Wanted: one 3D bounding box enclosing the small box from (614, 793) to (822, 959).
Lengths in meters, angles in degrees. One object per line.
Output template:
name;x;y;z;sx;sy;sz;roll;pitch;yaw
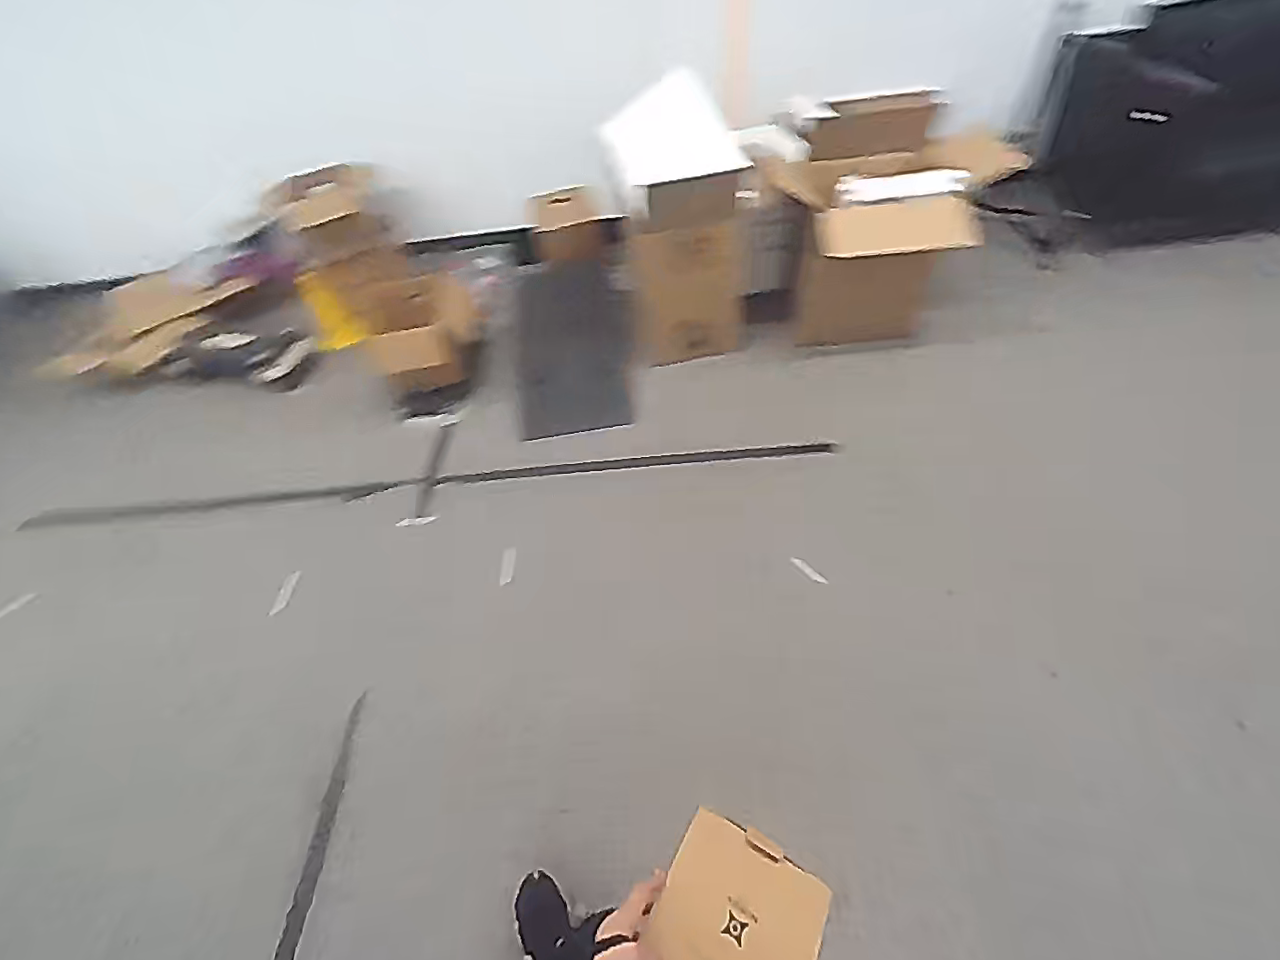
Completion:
small box;0.079;0.508;0.608;0.168;0.176;0.179;24;41;19
